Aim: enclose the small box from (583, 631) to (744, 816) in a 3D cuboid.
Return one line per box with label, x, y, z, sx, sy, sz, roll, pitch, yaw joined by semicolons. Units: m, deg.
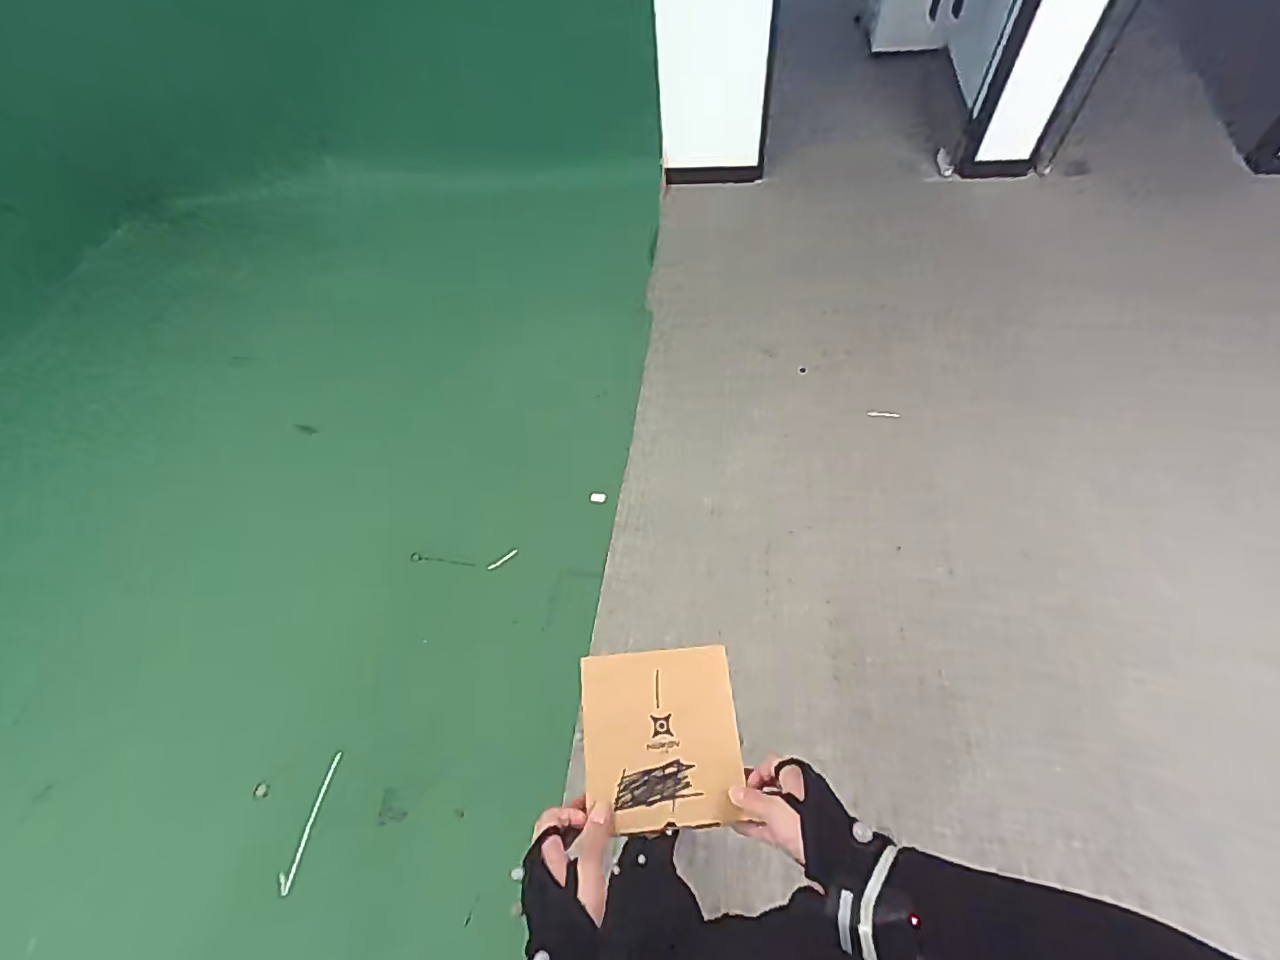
small box;0.021;0.288;0.650;0.168;0.176;0.179;-2;63;-3
